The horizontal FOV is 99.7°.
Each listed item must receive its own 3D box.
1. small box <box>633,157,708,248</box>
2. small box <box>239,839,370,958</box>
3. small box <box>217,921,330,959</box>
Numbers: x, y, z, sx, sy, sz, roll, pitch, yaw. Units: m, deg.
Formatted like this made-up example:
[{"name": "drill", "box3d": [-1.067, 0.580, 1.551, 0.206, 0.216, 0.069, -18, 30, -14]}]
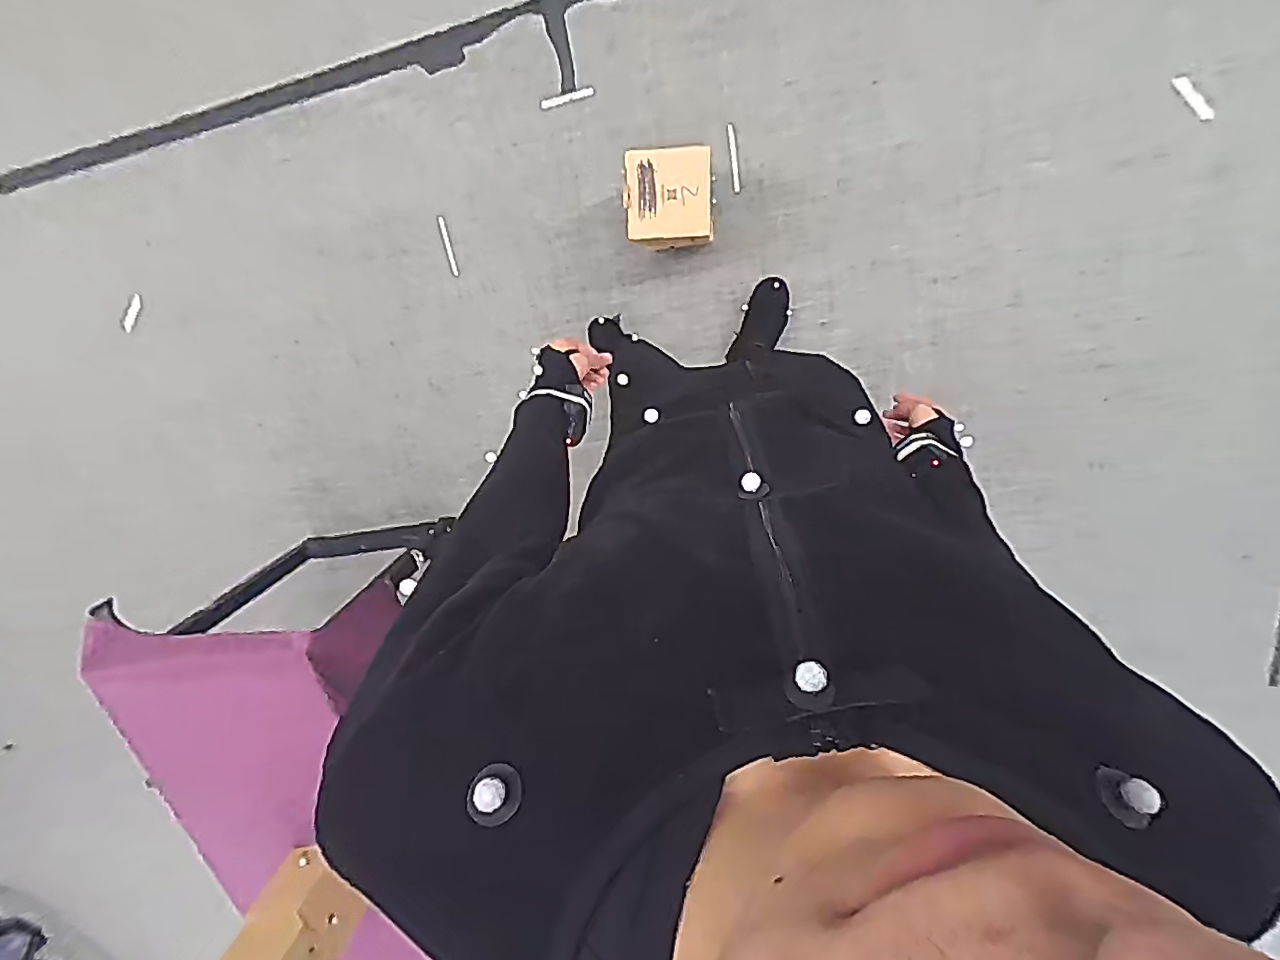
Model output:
[{"name": "small box", "box3d": [0.082, -0.675, 1.335, 0.168, 0.176, 0.179, -4, 110, 8]}, {"name": "small box", "box3d": [-0.797, 1.014, 1.308, 0.168, 0.176, 0.179, -18, 107, 13]}, {"name": "small box", "box3d": [-0.818, 1.094, 1.164, 0.179, 0.176, 0.168, -13, 110, 12]}]
